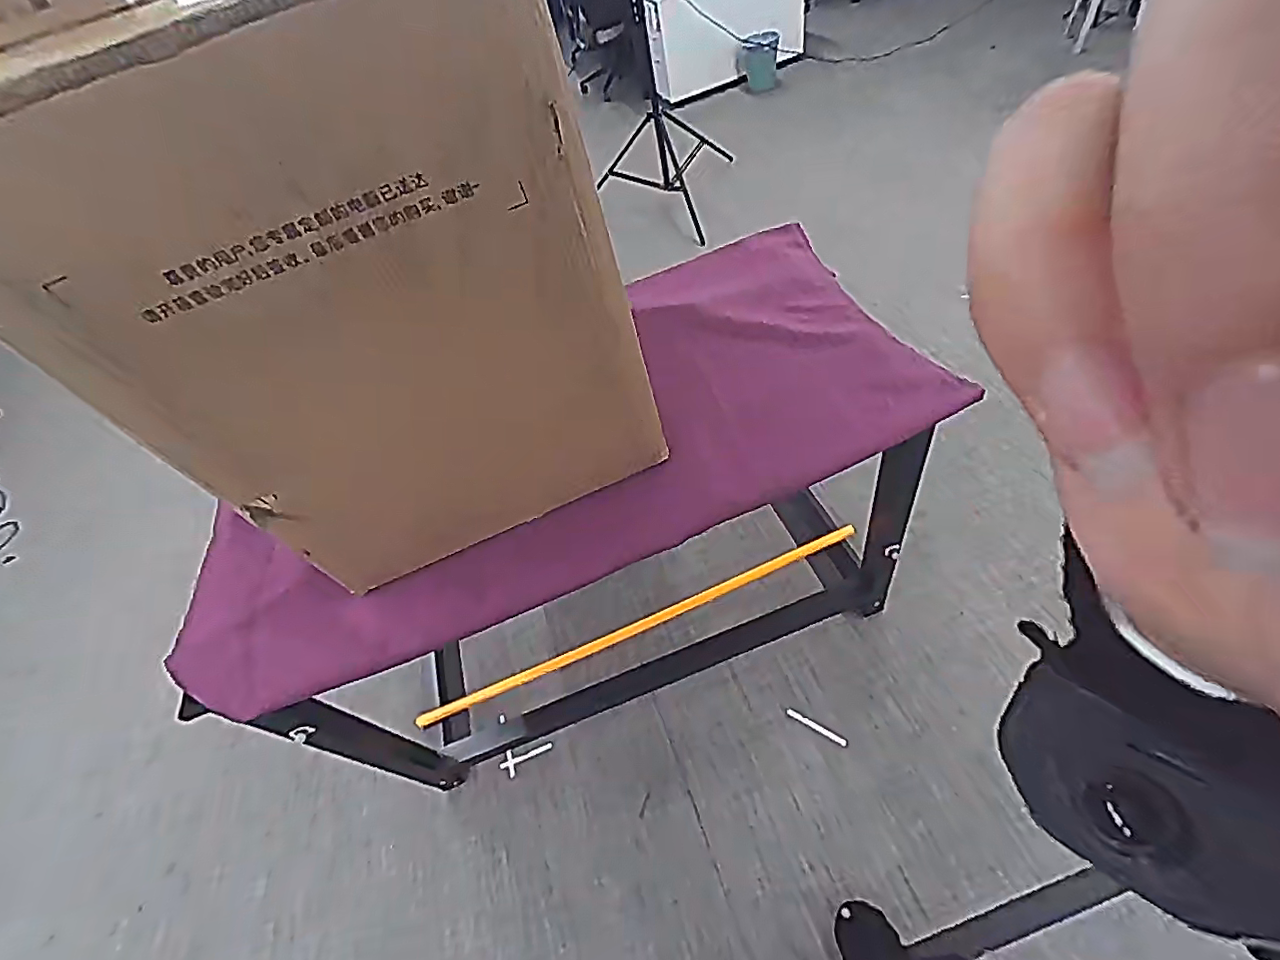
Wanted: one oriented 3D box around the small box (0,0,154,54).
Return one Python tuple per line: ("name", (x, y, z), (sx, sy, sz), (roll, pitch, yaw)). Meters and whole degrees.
("small box", (-0.560, -0.486, 0.458), (0.168, 0.176, 0.179), (-23, 50, -6))
